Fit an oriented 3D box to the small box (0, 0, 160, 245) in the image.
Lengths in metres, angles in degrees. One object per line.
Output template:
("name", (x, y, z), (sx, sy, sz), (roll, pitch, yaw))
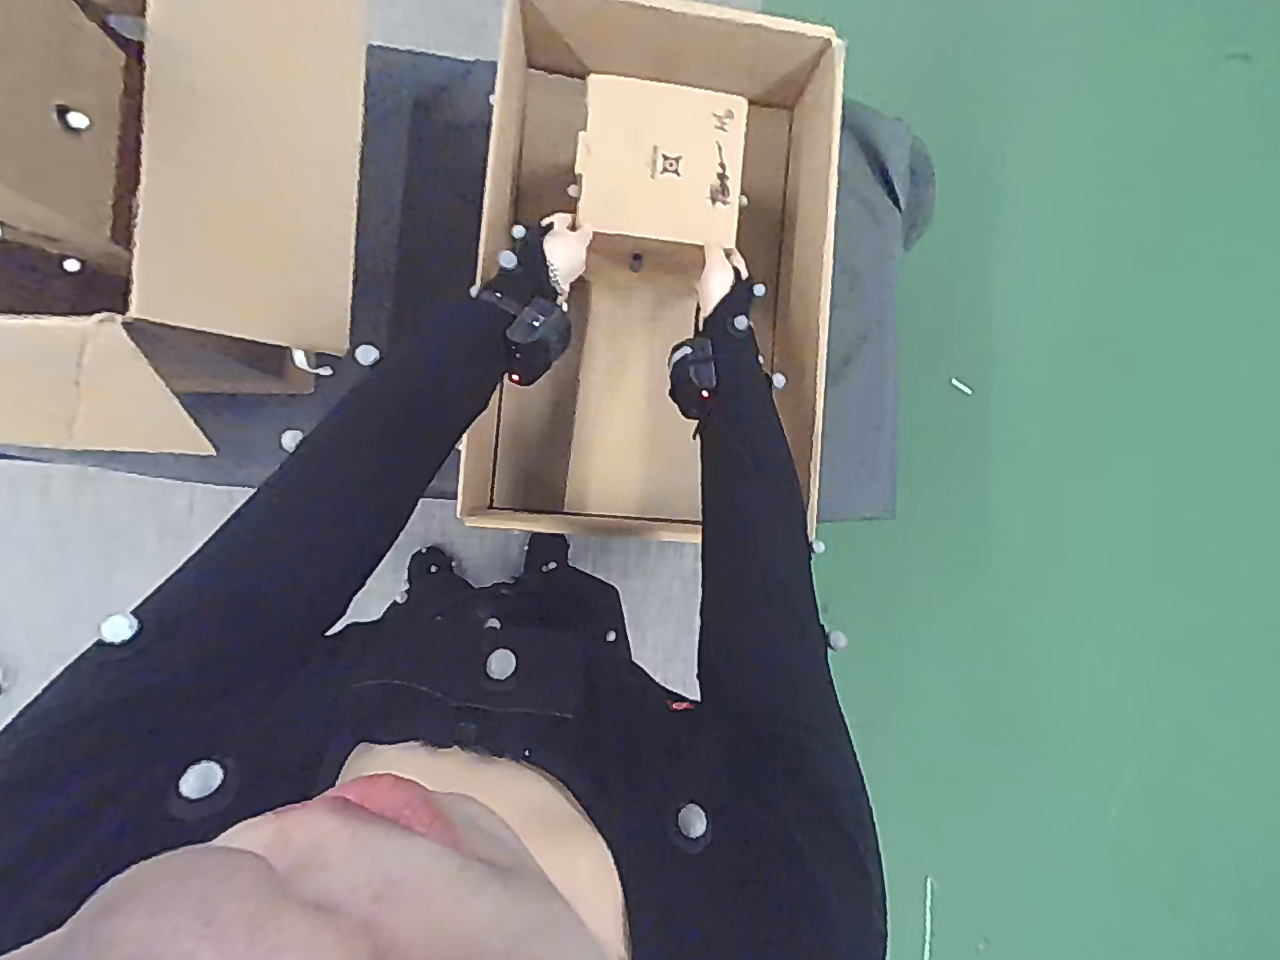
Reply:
("small box", (-0.553, -0.328, 0.450), (0.168, 0.176, 0.179), (7, 90, -8))
